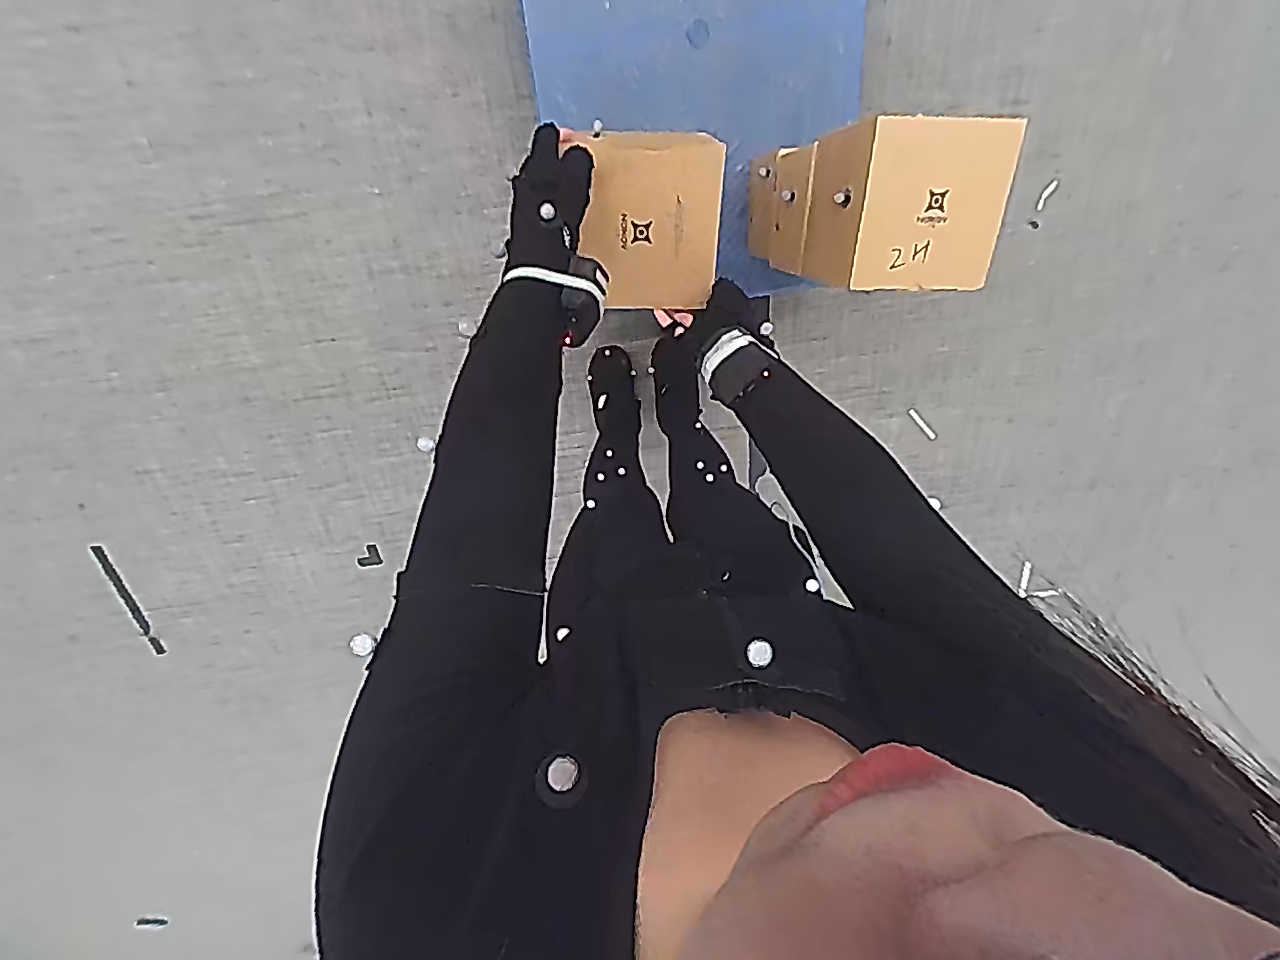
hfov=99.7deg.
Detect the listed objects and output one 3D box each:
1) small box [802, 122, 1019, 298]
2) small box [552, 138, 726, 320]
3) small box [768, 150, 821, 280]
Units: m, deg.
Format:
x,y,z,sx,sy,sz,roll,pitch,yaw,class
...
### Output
x,y,z,sx,sy,sz,roll,pitch,yaw,class
0.317,-0.329,0.678,0.168,0.176,0.179,-1,116,-4,small box
-0.002,-0.302,0.647,0.179,0.176,0.168,0,128,-1,small box
0.306,-0.399,0.827,0.179,0.176,0.168,-2,116,-4,small box
